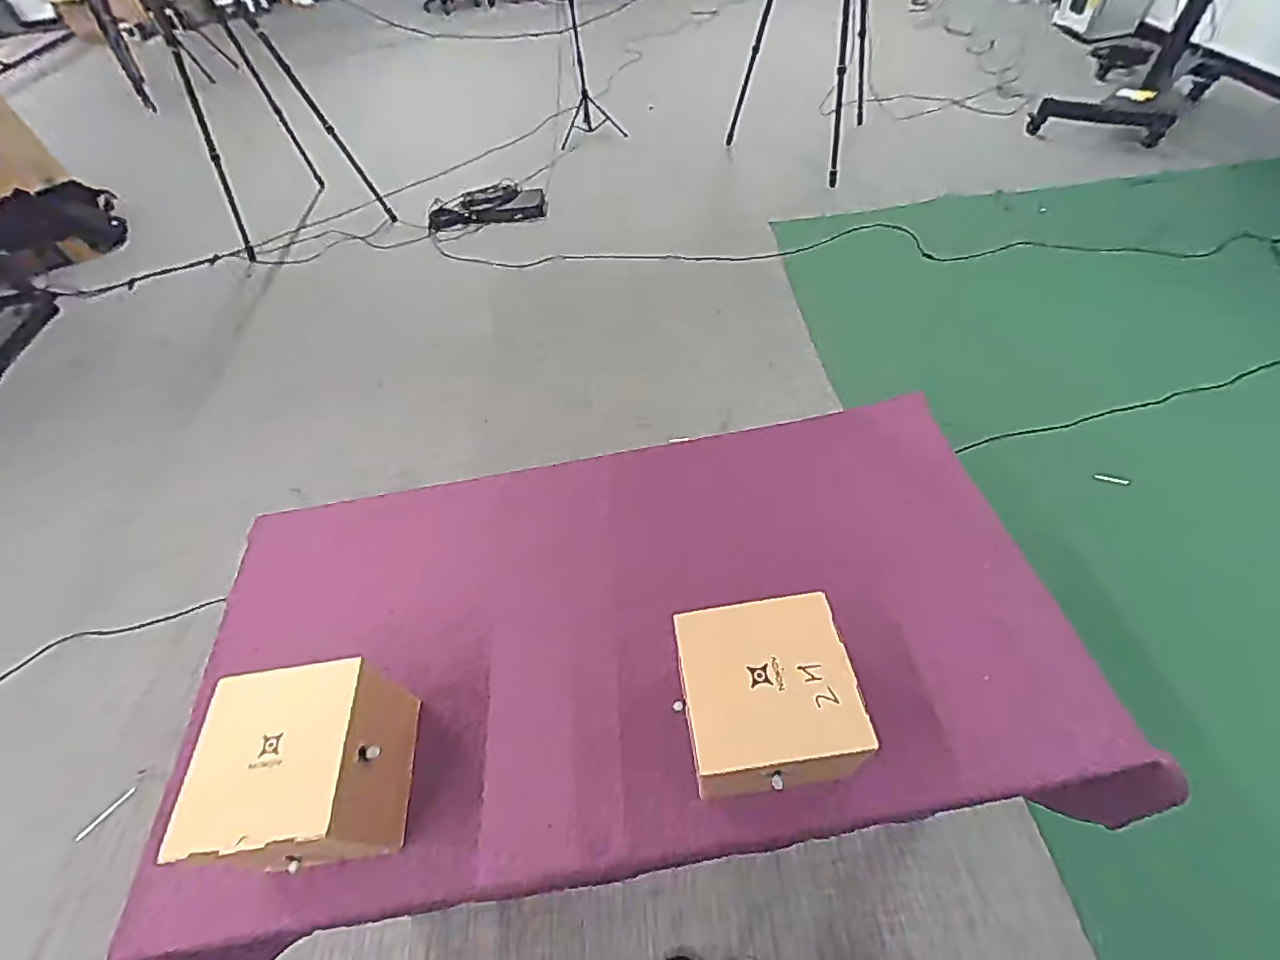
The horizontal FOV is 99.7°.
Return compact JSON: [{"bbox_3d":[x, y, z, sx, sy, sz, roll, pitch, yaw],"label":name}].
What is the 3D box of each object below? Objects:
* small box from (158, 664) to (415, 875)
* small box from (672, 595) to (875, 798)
[{"bbox_3d":[-0.377,0.335,0.622,0.168,0.176,0.179,-9,53,-1],"label":"small box"},{"bbox_3d":[0.139,0.254,0.623,0.179,0.176,0.168,-9,53,0],"label":"small box"}]
